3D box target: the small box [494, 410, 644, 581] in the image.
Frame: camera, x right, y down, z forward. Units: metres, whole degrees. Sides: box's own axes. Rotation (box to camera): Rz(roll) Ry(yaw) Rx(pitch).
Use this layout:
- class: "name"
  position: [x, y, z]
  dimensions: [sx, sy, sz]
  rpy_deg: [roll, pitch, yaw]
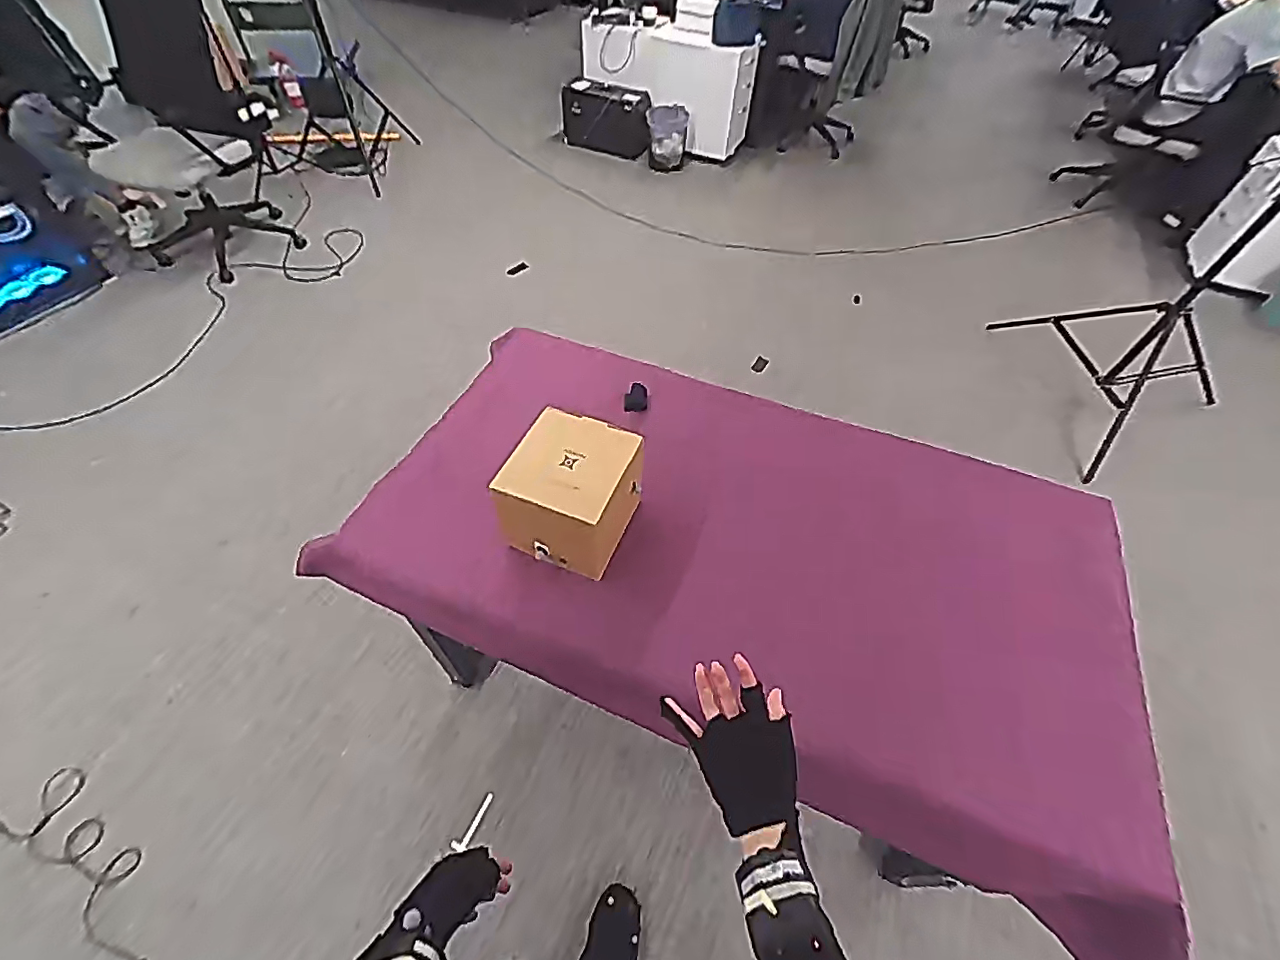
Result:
- class: "small box"
  position: [-0.102, 0.026, 0.846]
  dimensions: [0.168, 0.176, 0.179]
  rpy_deg: [18, 54, 12]
